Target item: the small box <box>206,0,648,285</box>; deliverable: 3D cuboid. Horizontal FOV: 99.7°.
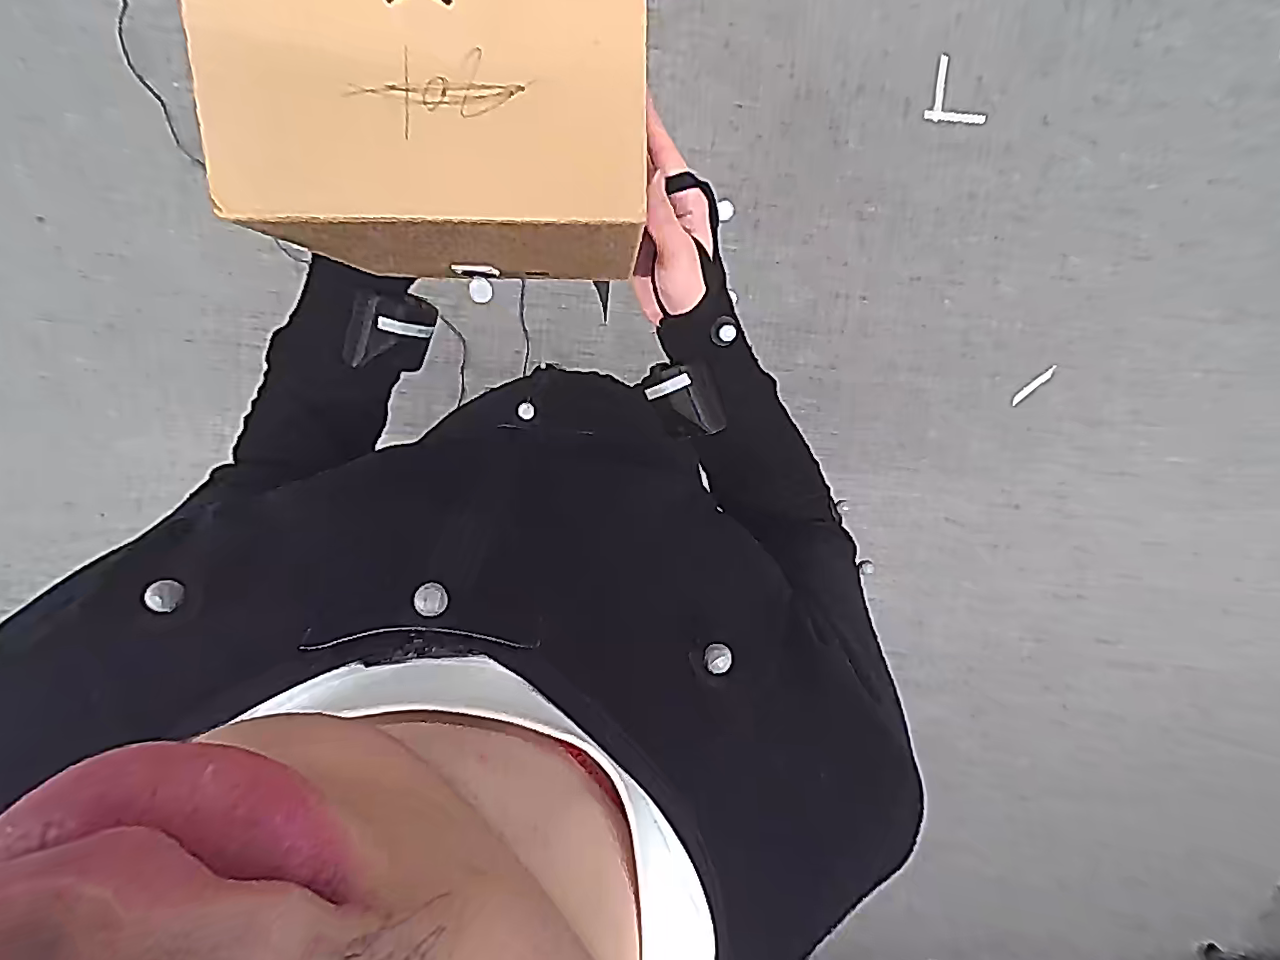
[{"bbox_3d":[-0.083,-0.204,0.280,0.168,0.176,0.179,-1,104,-2],"label":"small box"}]
